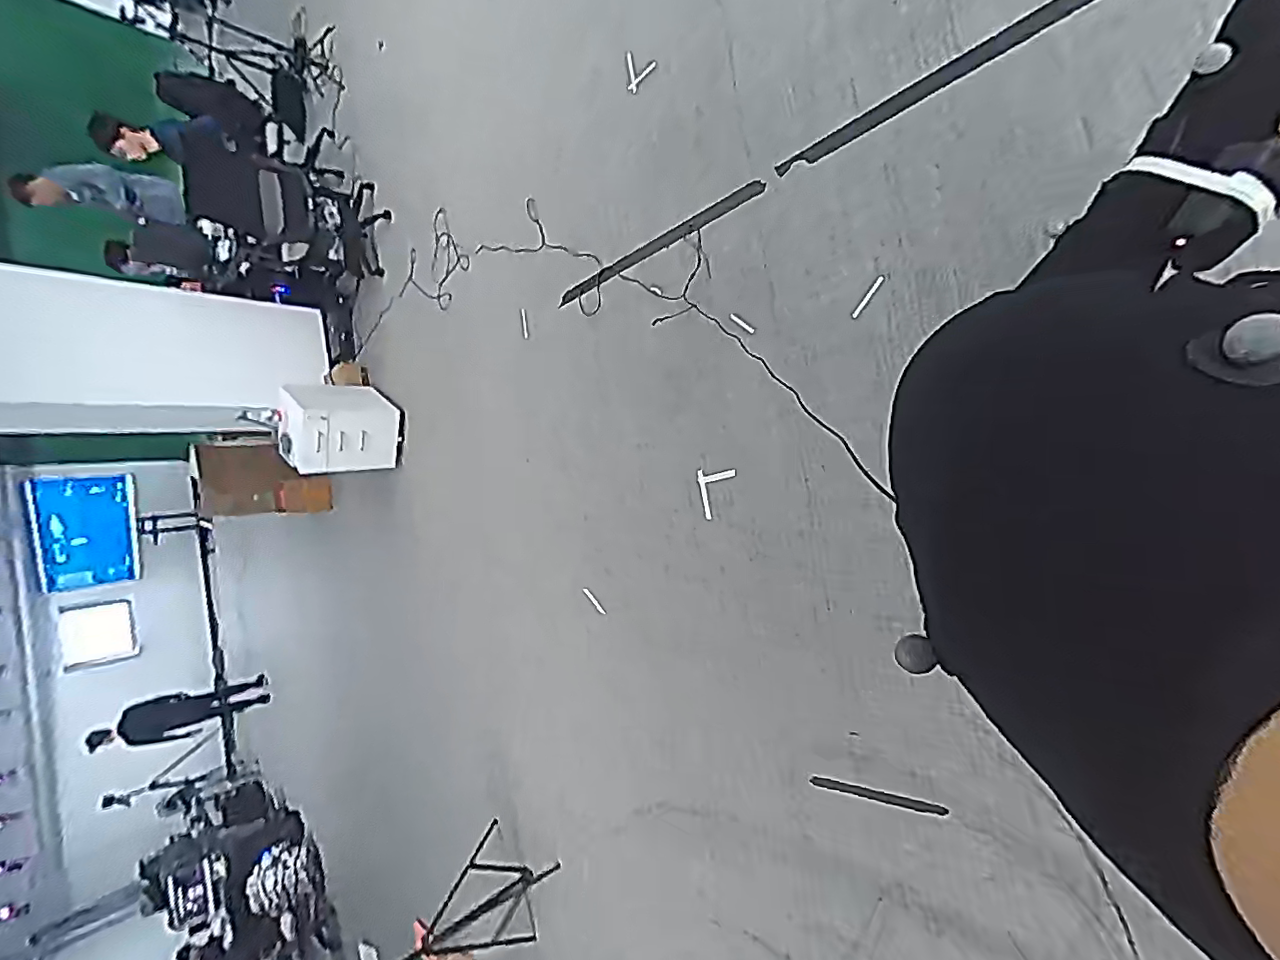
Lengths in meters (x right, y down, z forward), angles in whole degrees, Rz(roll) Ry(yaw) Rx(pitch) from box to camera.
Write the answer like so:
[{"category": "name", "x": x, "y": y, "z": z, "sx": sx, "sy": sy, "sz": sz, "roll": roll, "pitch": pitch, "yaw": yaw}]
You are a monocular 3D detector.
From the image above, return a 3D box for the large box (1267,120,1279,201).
[{"category": "large box", "x": 0.701, "y": -0.278, "z": 0.280, "sx": 0.408, "sy": 0.320, "sz": 0.320, "roll": 43, "pitch": 131, "yaw": 33}]
